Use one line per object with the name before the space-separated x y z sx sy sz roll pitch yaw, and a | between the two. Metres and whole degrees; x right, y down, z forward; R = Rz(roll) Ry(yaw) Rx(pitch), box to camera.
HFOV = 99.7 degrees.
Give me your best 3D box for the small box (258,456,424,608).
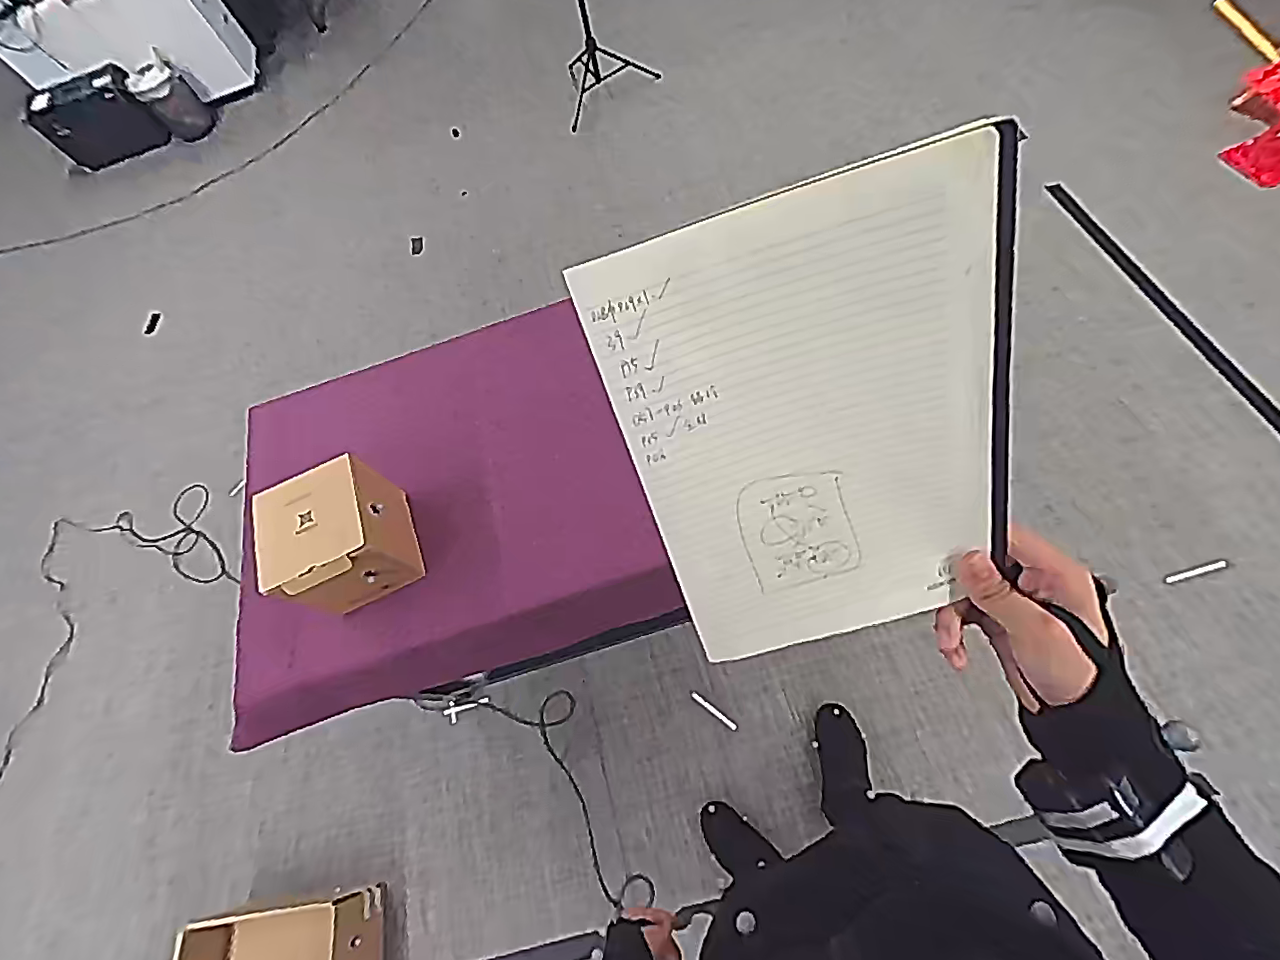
small box | -0.481 0.096 0.886 0.168 0.176 0.179 -25 64 -2
